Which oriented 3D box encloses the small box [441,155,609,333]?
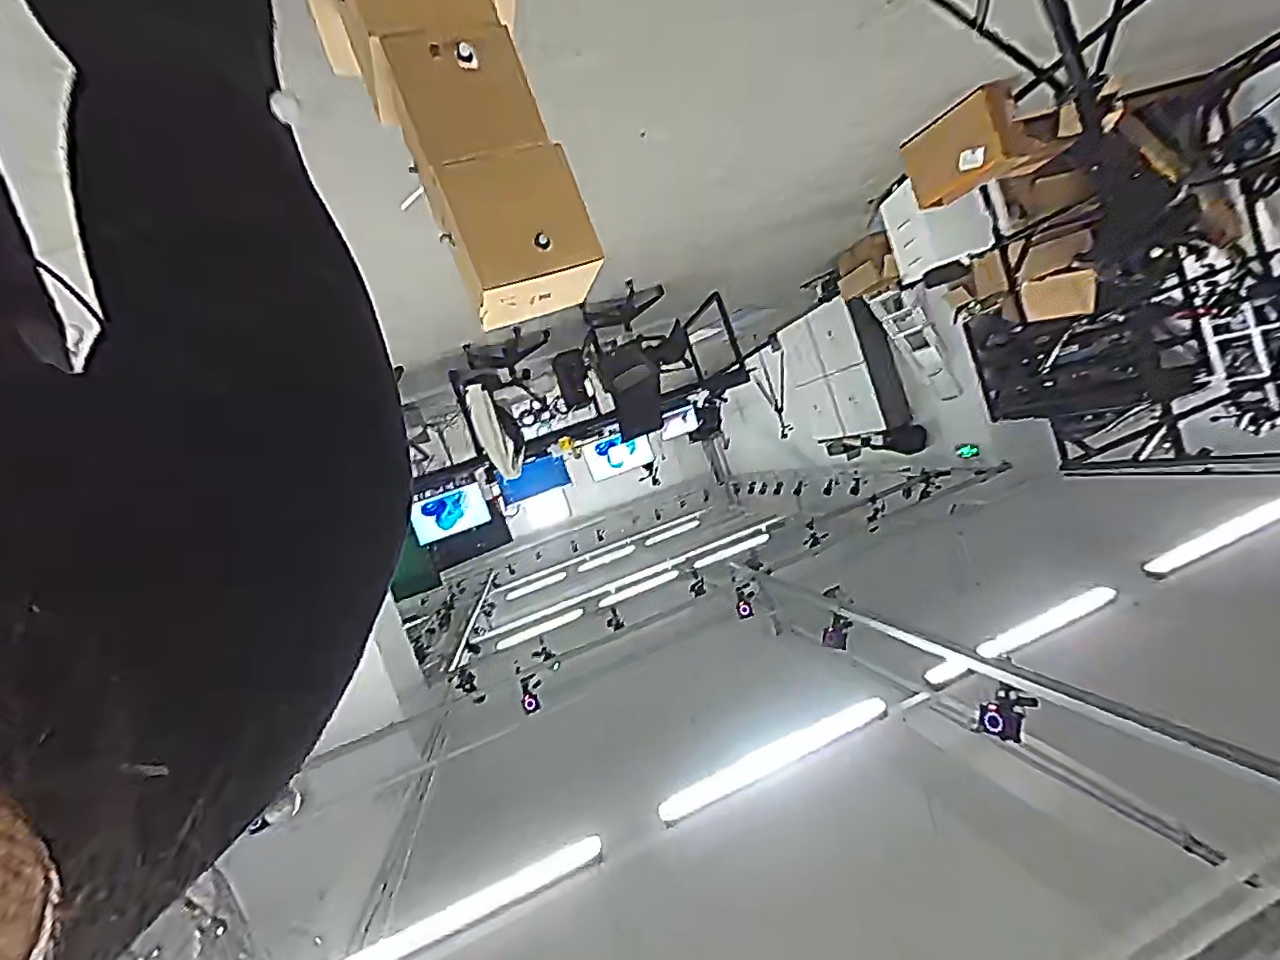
[{"bbox_3d":[-0.171,-0.341,0.788,0.179,0.176,0.168,-22,-177,-17],"label":"small box"}]

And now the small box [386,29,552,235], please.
[{"bbox_3d":[-0.240,-0.490,0.778,0.168,0.176,0.179,-22,-178,-15],"label":"small box"}]
